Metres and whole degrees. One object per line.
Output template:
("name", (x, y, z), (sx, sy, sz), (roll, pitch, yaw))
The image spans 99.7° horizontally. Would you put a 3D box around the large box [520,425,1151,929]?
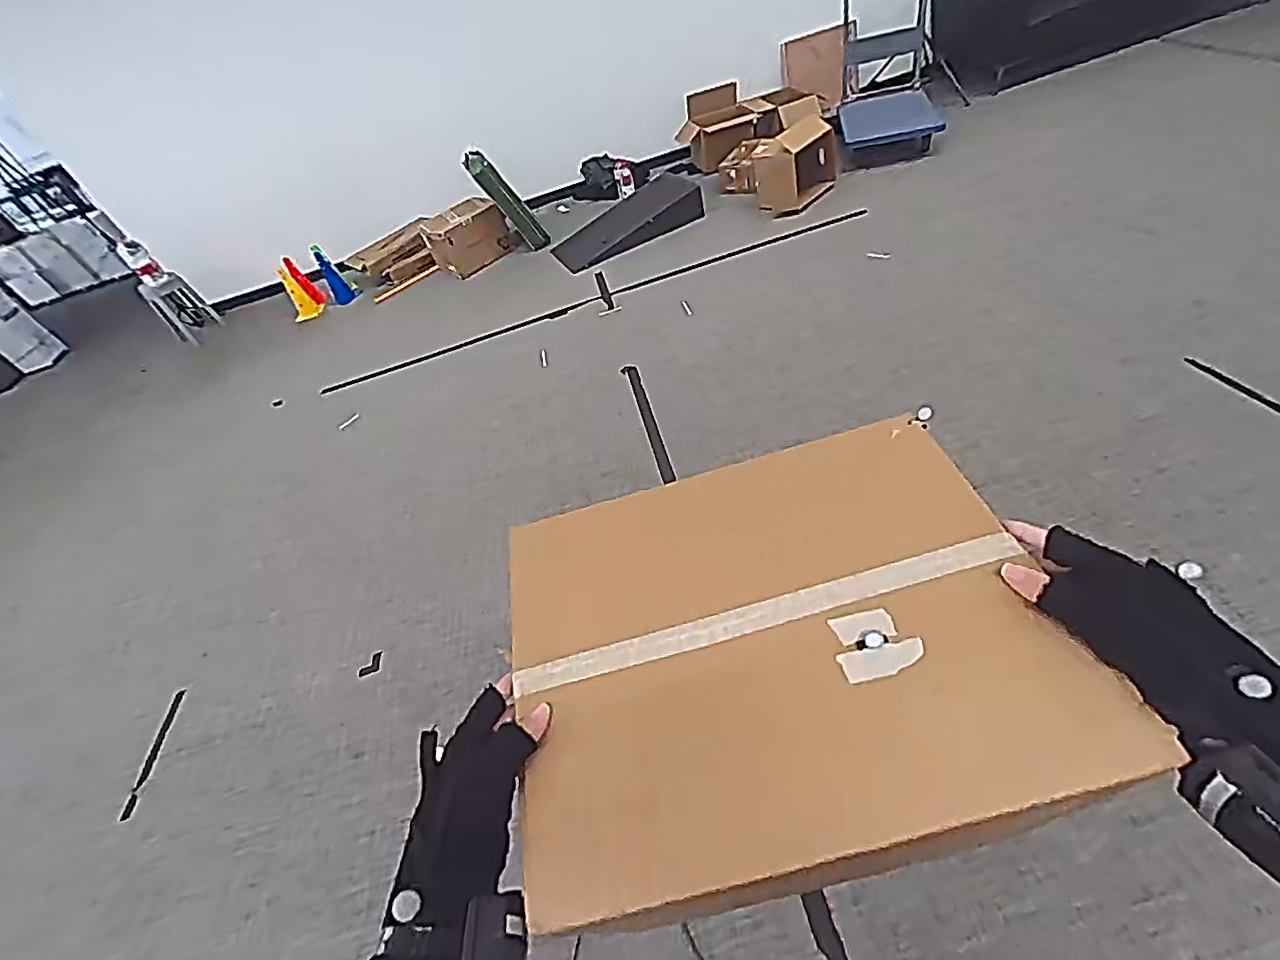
("large box", (0.129, 0.206, 0.546), (0.408, 0.320, 0.320), (-16, 49, 1))
